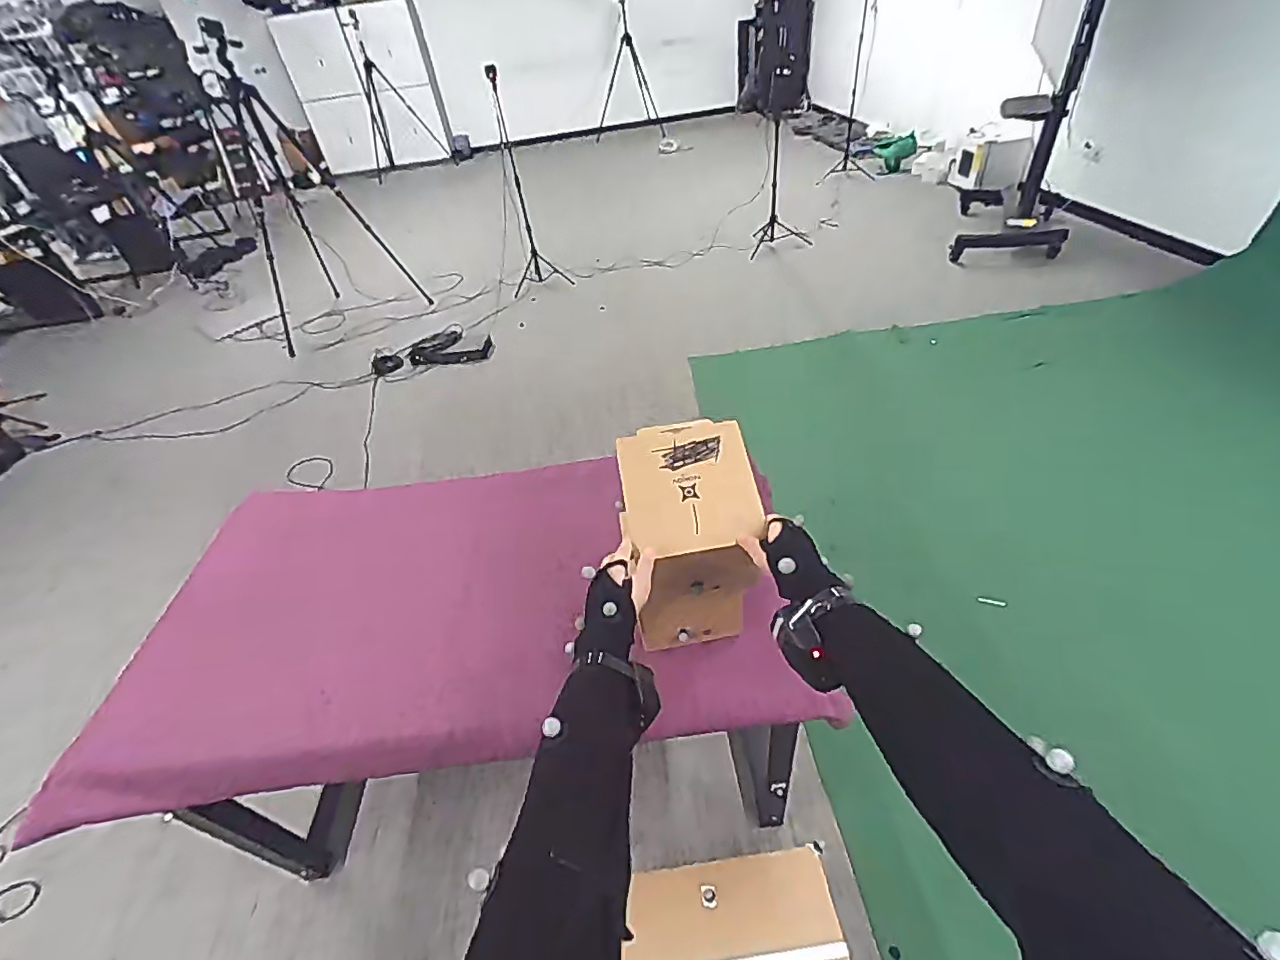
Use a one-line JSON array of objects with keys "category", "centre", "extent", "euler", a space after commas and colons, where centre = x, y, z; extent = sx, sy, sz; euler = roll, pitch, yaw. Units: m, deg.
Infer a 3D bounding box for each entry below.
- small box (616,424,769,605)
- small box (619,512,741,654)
[{"category": "small box", "centre": [0.064, 0.051, 0.736], "extent": [0.168, 0.176, 0.179], "euler": [-10, 60, 0]}, {"category": "small box", "centre": [0.064, 0.156, 0.891], "extent": [0.168, 0.176, 0.179], "euler": [-11, 40, 0]}]
